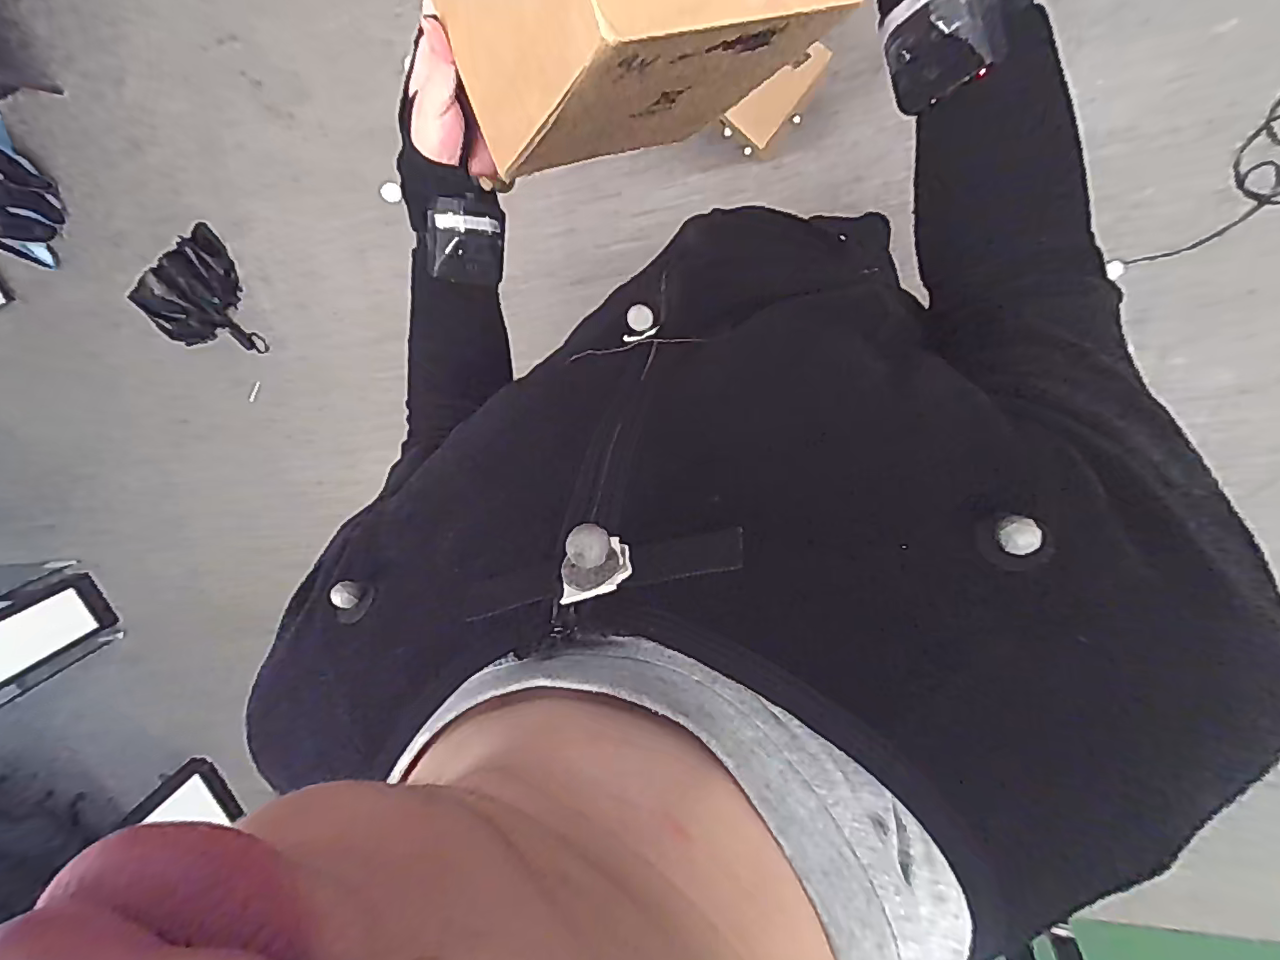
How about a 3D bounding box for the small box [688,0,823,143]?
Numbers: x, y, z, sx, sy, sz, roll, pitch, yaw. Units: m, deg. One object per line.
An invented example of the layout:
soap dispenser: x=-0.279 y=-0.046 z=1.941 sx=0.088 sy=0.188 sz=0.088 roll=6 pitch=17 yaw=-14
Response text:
small box: x=0.214 y=-0.770 z=1.008 sx=0.168 sy=0.176 sz=0.179 roll=40 pitch=119 yaw=-6
